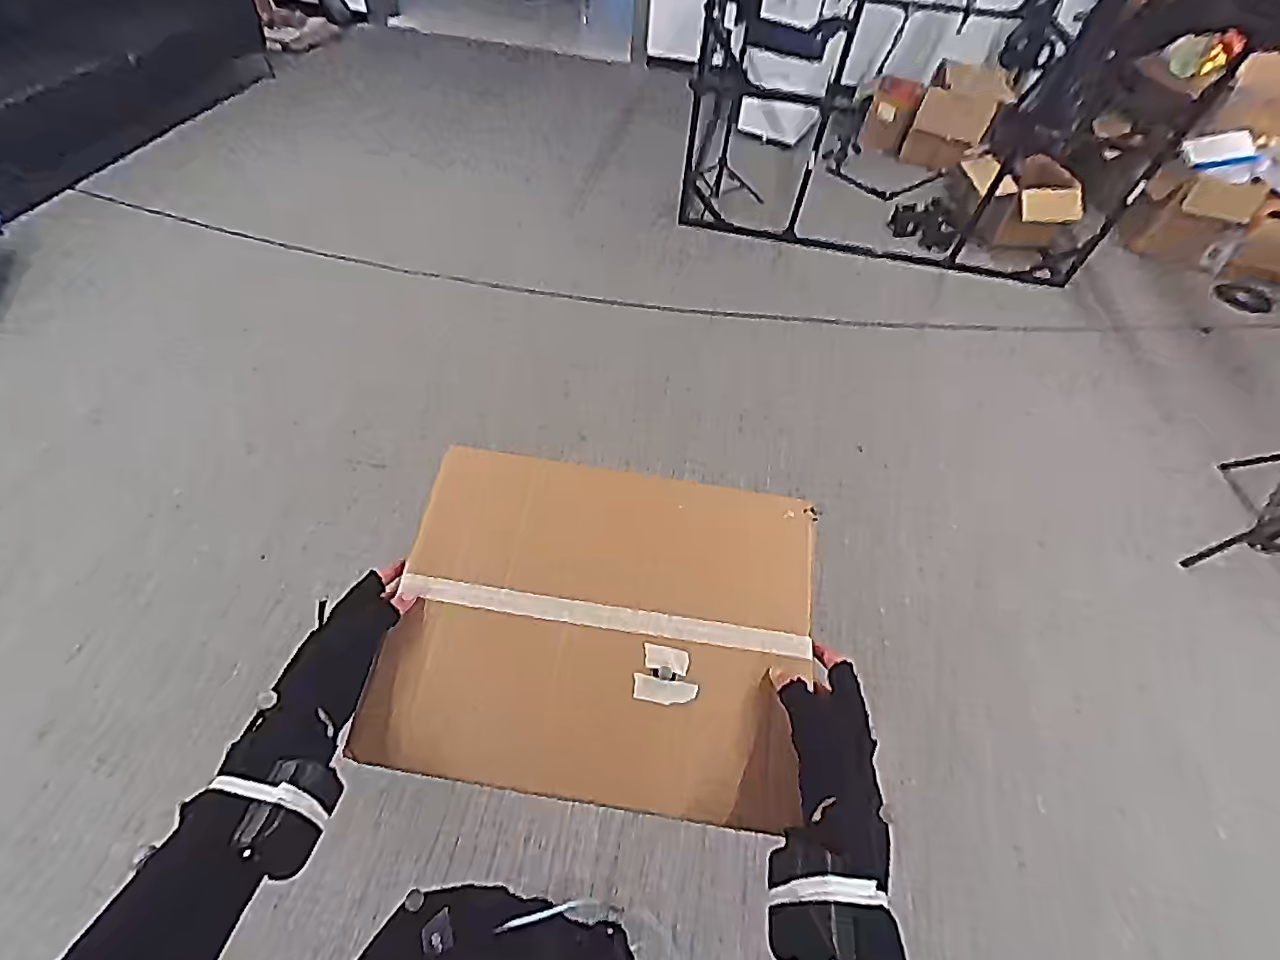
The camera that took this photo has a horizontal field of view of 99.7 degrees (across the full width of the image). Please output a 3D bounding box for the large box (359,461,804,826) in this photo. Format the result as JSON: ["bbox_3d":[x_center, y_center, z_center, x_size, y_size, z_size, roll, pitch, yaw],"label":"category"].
[{"bbox_3d":[-0.044,0.204,0.673,0.408,0.320,0.320,9,65,1],"label":"large box"}]
